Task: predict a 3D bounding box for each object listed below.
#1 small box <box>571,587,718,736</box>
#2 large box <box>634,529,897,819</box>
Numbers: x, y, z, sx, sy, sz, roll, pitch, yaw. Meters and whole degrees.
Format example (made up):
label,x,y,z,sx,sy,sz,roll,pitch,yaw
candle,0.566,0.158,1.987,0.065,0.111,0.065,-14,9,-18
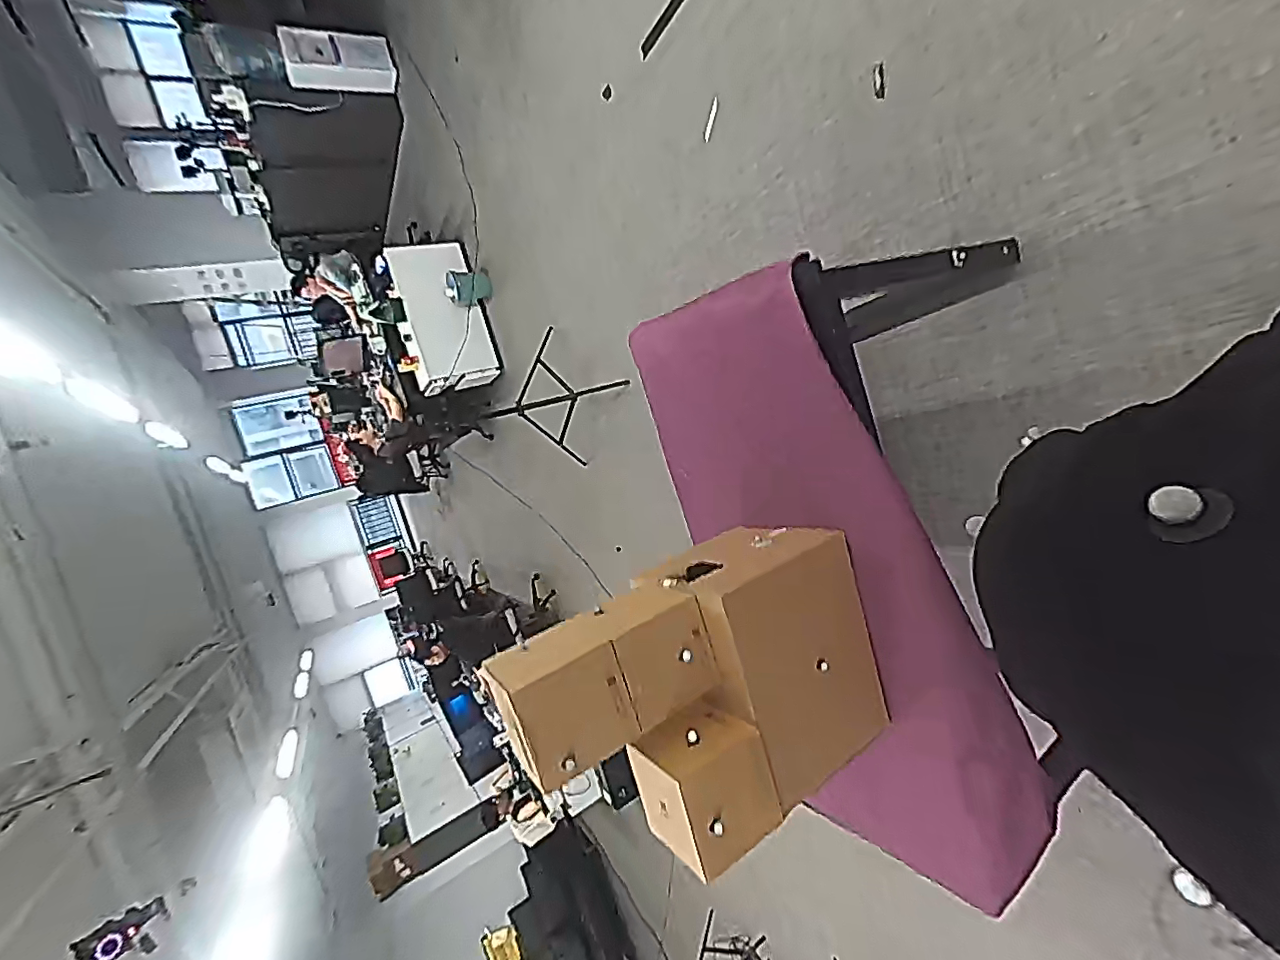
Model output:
label,x,y,z,sx,sy,sz,roll,pitch,yaw
small box,0.006,0.299,0.938,0.179,0.176,0.168,-6,103,61
large box,0.241,0.333,1.068,0.320,0.320,0.408,-6,103,62
